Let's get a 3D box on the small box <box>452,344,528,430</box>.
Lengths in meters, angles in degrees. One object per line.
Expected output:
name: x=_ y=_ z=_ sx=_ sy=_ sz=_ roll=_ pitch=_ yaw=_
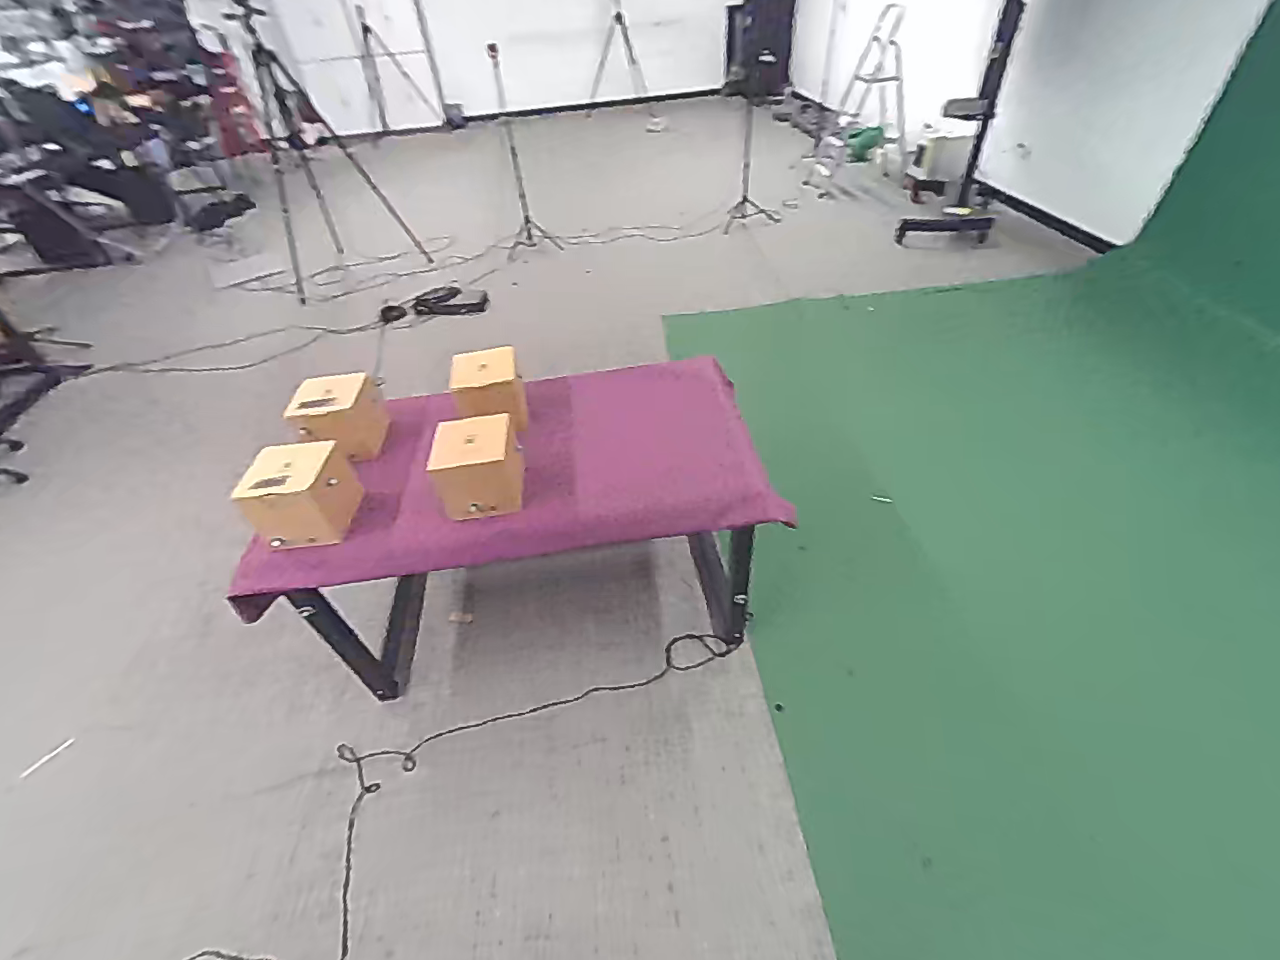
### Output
small box: x=-0.408 y=-0.248 z=1.487 sx=0.168 sy=0.176 sz=0.179 roll=-10 pitch=45 yaw=-6

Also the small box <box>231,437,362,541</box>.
small box: x=-0.766 y=0.026 z=1.231 sx=0.168 sy=0.176 sz=0.179 roll=-5 pitch=42 yaw=-1

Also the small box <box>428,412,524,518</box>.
small box: x=-0.371 y=-0.035 z=1.262 sx=0.168 sy=0.176 sz=0.179 roll=-8 pitch=43 yaw=-1
